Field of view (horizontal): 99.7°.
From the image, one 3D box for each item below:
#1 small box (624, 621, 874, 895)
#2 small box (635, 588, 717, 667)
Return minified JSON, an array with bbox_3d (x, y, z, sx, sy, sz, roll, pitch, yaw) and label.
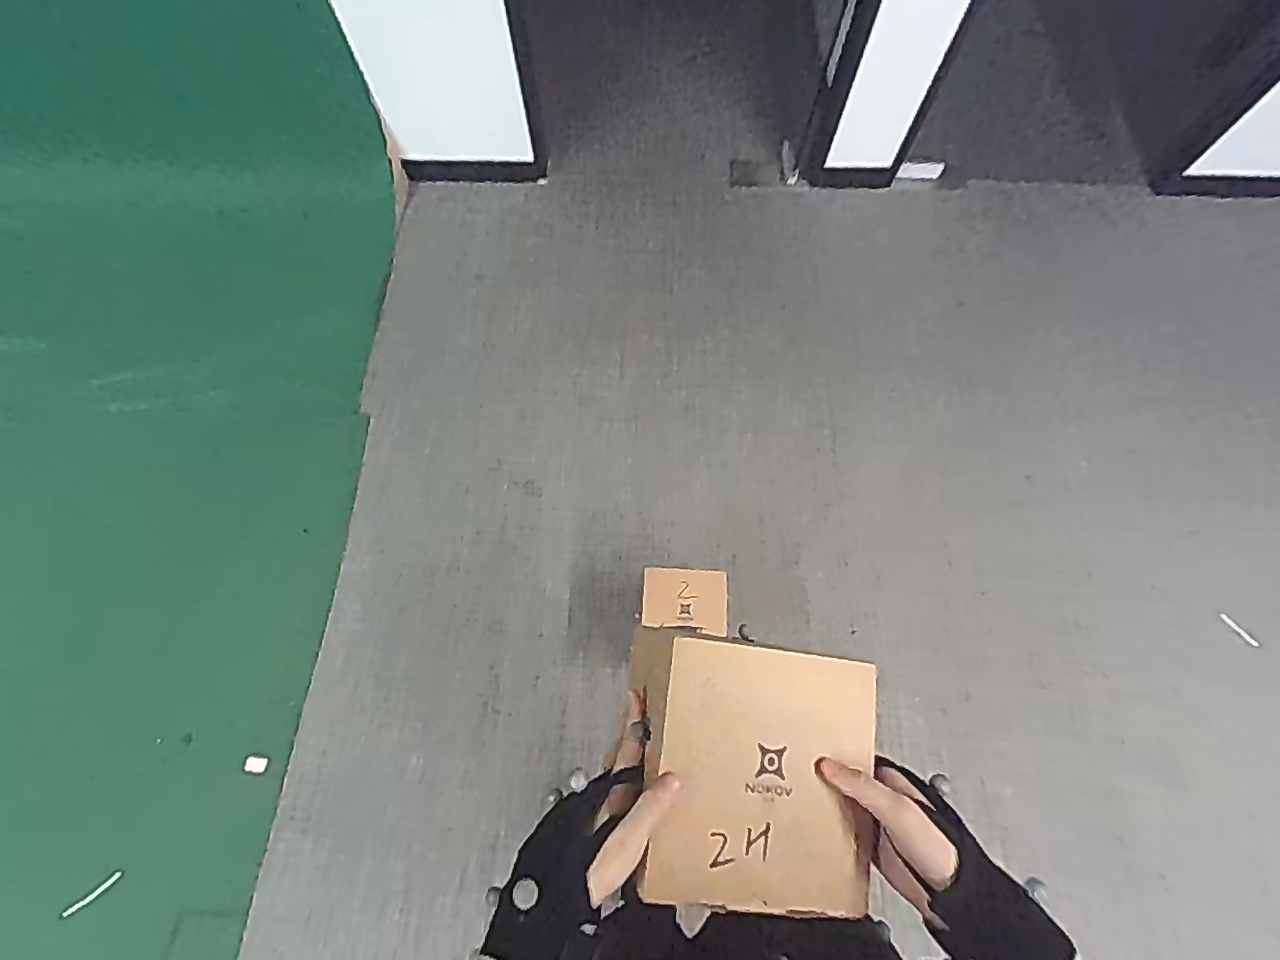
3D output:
[{"bbox_3d":[0.085,0.226,0.484,0.168,0.176,0.179,10,76,-7],"label":"small box"},{"bbox_3d":[0.081,0.367,1.274,0.168,0.176,0.179,8,69,2],"label":"small box"}]
